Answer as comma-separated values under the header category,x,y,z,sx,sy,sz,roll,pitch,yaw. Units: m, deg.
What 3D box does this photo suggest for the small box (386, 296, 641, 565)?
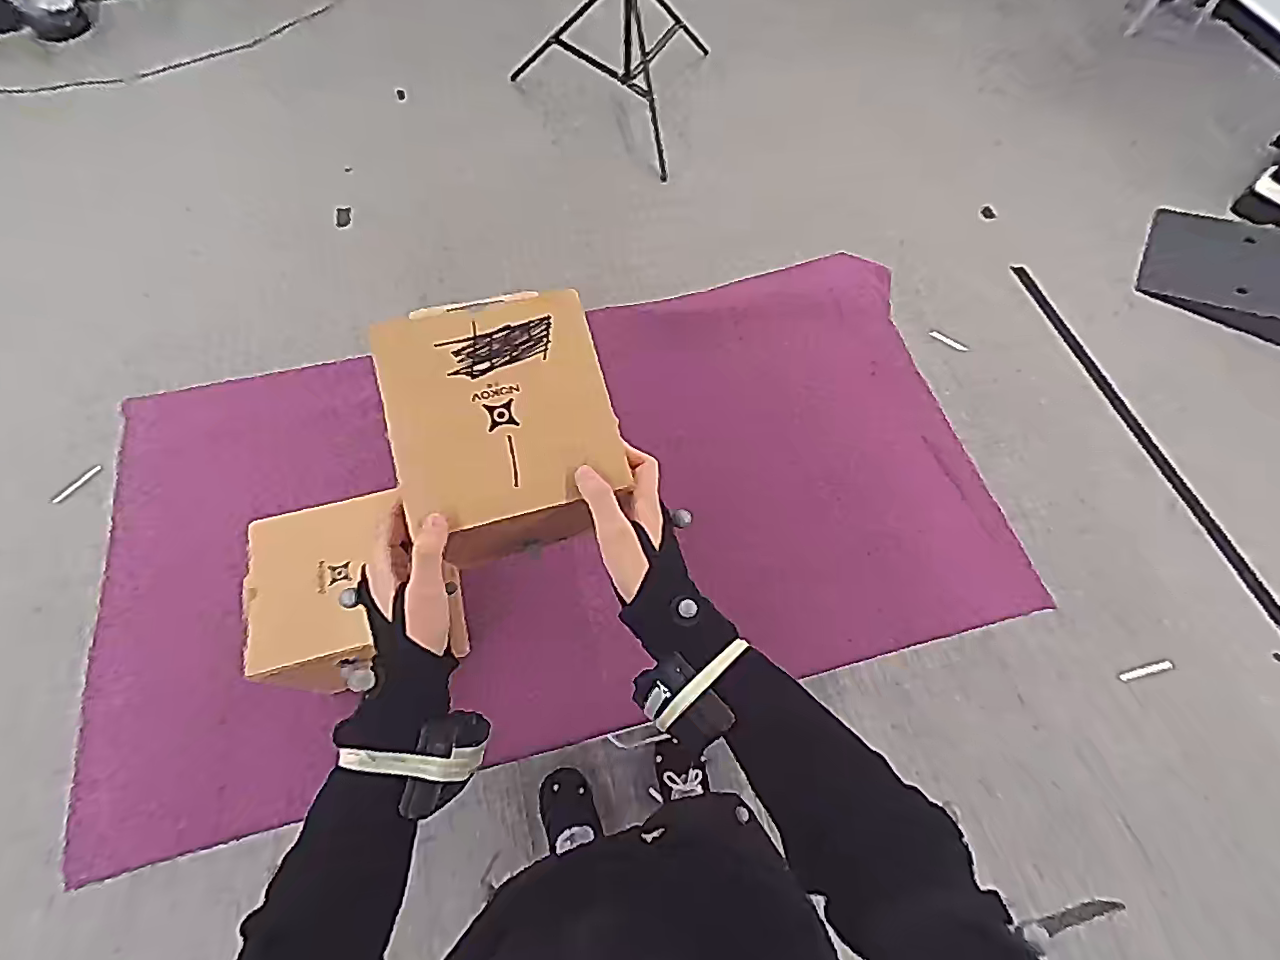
category,x,y,z,sx,sy,sz,roll,pitch,yaw
small box,-0.108,-0.034,0.493,0.168,0.176,0.179,-14,77,-10

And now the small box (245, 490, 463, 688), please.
category,x,y,z,sx,sy,sz,roll,pitch,yaw
small box,-0.318,0.134,0.633,0.179,0.176,0.168,-14,66,-7
